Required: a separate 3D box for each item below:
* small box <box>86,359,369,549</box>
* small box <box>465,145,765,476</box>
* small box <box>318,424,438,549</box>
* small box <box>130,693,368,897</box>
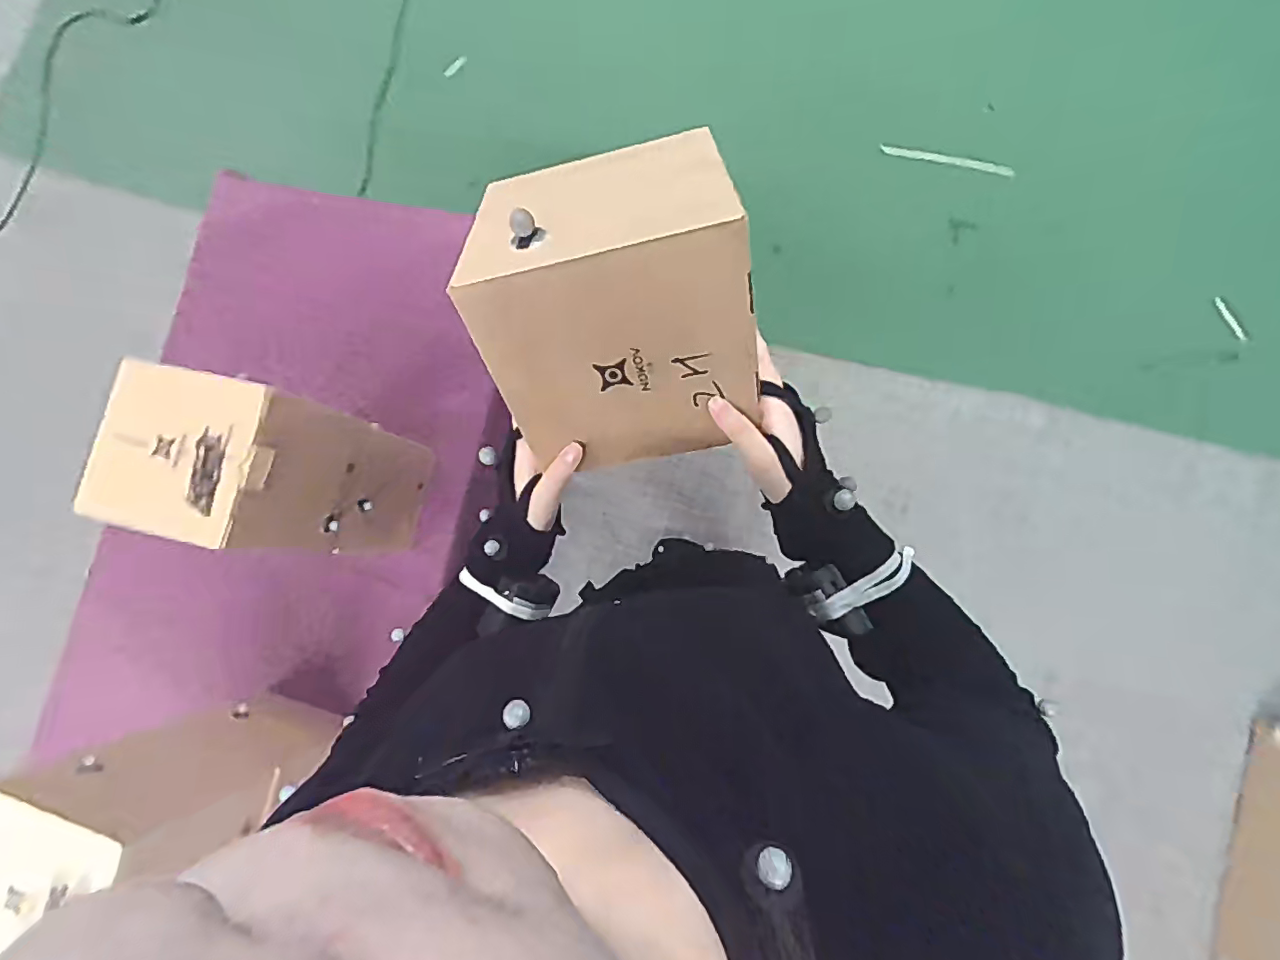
[{"bbox_3d":[-0.449,-0.021,0.618,0.179,0.176,0.168,11,85,9],"label":"small box"},{"bbox_3d":[-0.006,-0.129,0.418,0.179,0.168,0.176,-9,48,8],"label":"small box"},{"bbox_3d":[-0.427,0.001,0.780,0.179,0.176,0.168,12,86,9],"label":"small box"},{"bbox_3d":[-0.519,0.410,0.741,0.179,0.176,0.168,13,85,8],"label":"small box"}]
